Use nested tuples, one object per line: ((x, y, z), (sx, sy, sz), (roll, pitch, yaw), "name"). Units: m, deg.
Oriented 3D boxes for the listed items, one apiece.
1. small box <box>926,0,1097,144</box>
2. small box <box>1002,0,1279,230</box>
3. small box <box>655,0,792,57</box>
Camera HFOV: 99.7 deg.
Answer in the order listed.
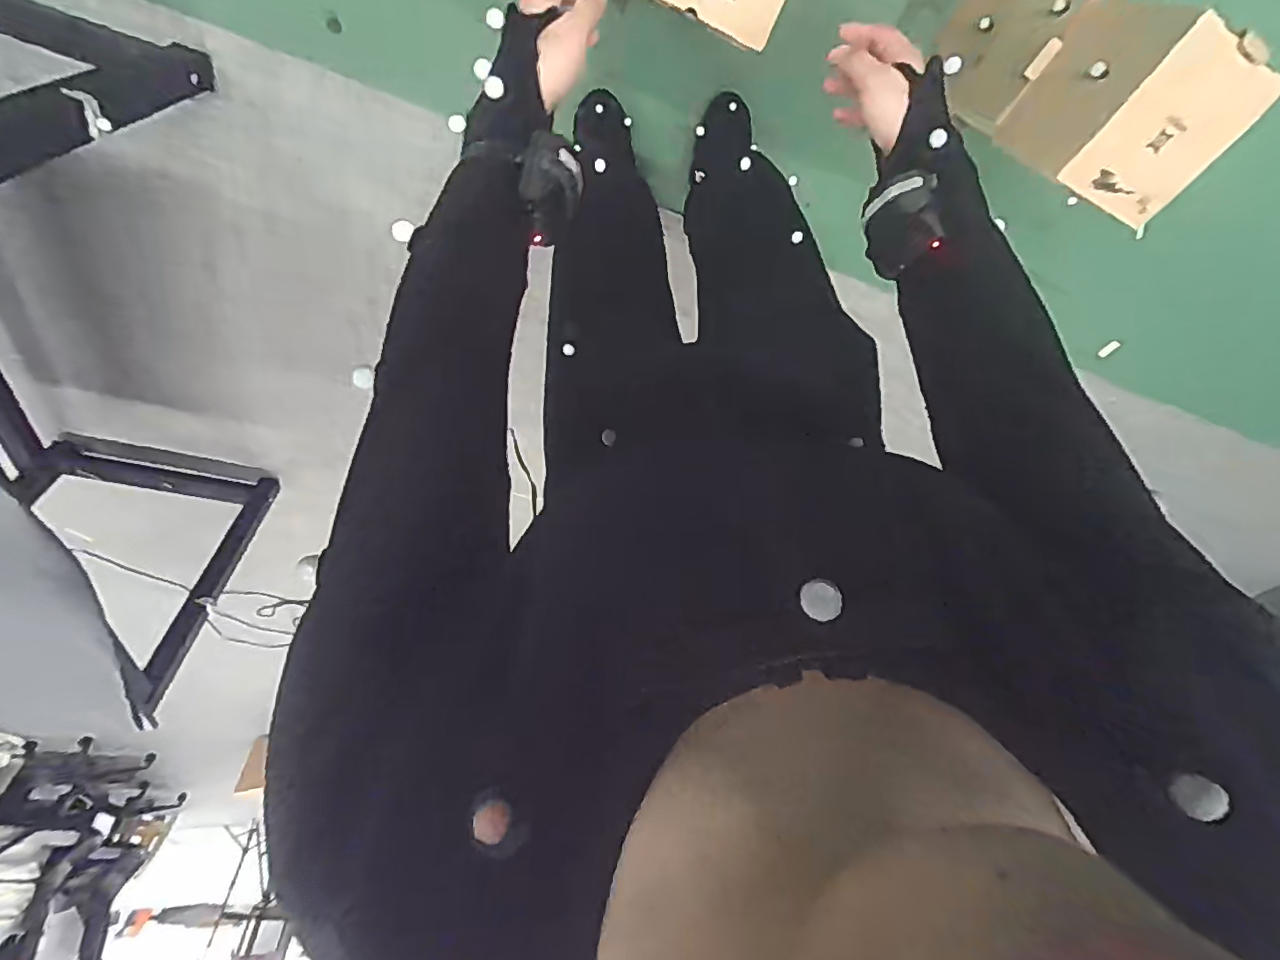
((0.615, -0.708, 0.906), (0.168, 0.176, 0.179), (19, 133, -22), "small box")
((0.618, -0.463, 0.686), (0.168, 0.176, 0.179), (15, 133, -20), "small box")
((0.088, -0.574, 0.539), (0.168, 0.176, 0.179), (14, 134, -16), "small box")
